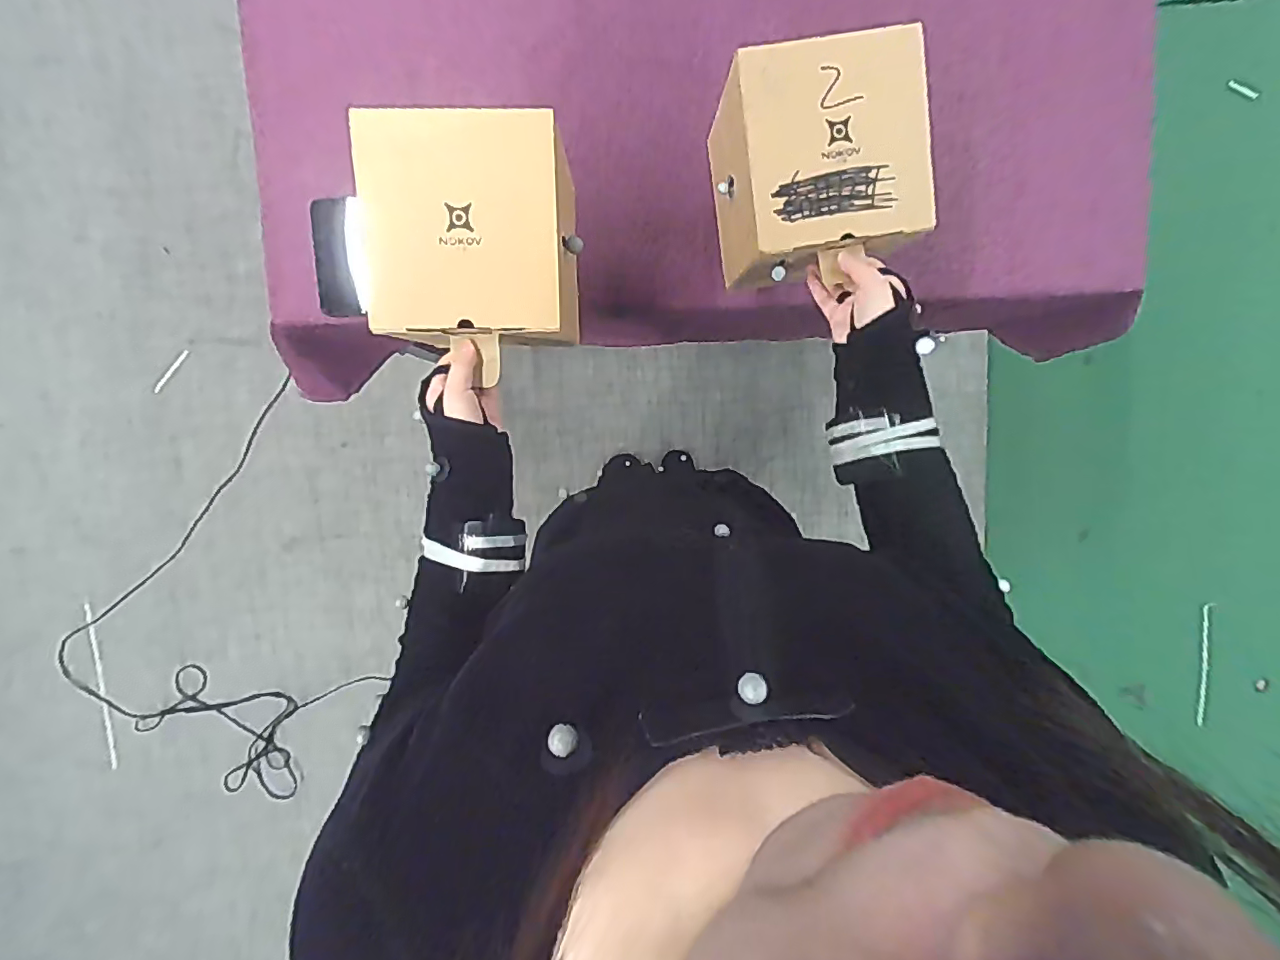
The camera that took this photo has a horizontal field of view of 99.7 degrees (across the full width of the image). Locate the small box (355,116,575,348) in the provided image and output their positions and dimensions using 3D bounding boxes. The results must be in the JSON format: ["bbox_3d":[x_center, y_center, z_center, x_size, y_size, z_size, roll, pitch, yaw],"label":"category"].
[{"bbox_3d":[-0.155,-0.226,0.537,0.168,0.176,0.179,-1,101,-2],"label":"small box"}]
